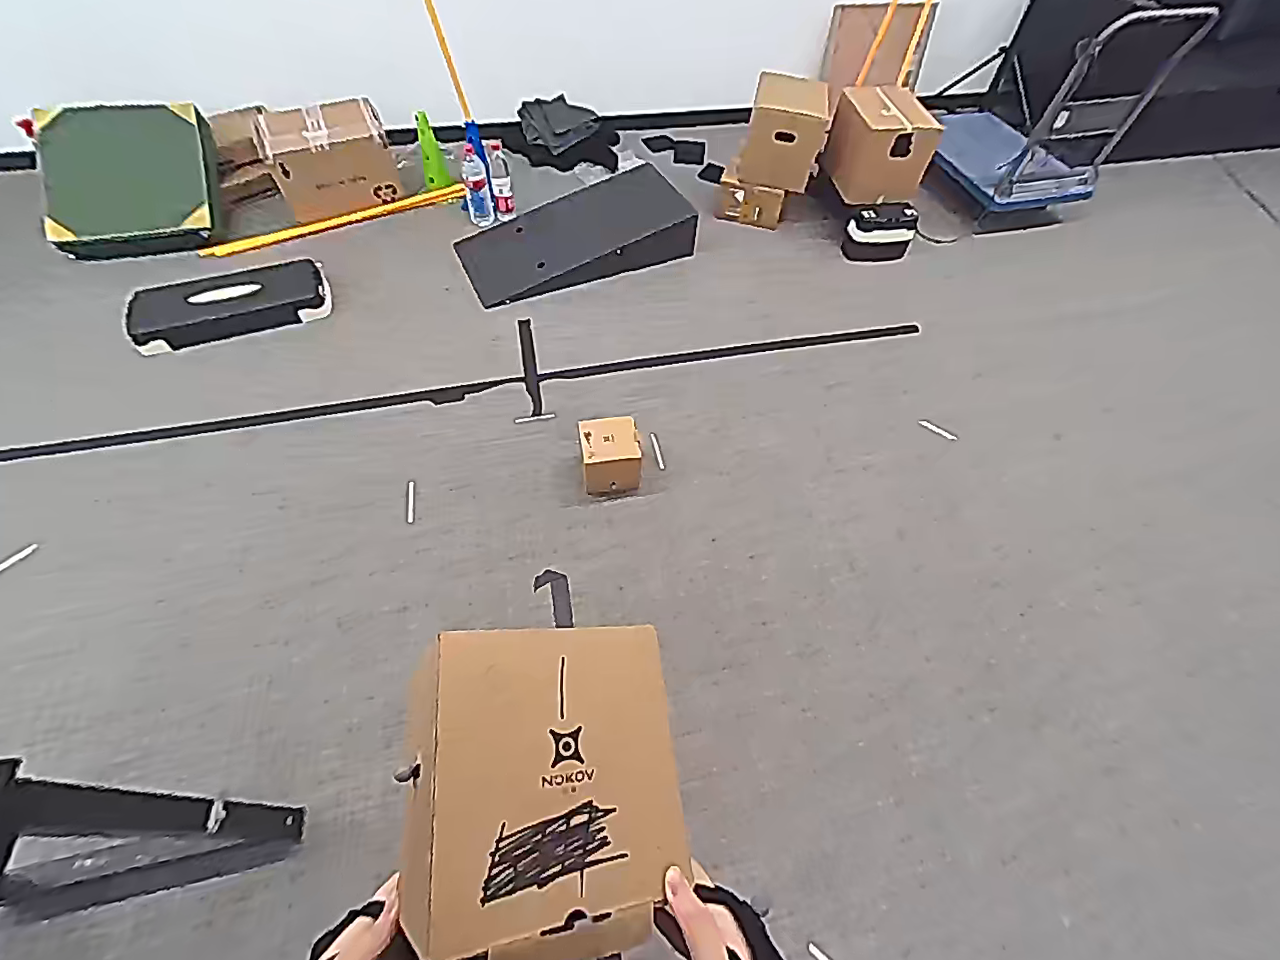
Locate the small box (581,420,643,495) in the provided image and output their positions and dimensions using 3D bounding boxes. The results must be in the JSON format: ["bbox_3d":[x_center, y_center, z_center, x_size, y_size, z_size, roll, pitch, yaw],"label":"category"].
[{"bbox_3d":[-0.093,-0.067,1.698,0.179,0.176,0.168,-6,56,-8],"label":"small box"}]
